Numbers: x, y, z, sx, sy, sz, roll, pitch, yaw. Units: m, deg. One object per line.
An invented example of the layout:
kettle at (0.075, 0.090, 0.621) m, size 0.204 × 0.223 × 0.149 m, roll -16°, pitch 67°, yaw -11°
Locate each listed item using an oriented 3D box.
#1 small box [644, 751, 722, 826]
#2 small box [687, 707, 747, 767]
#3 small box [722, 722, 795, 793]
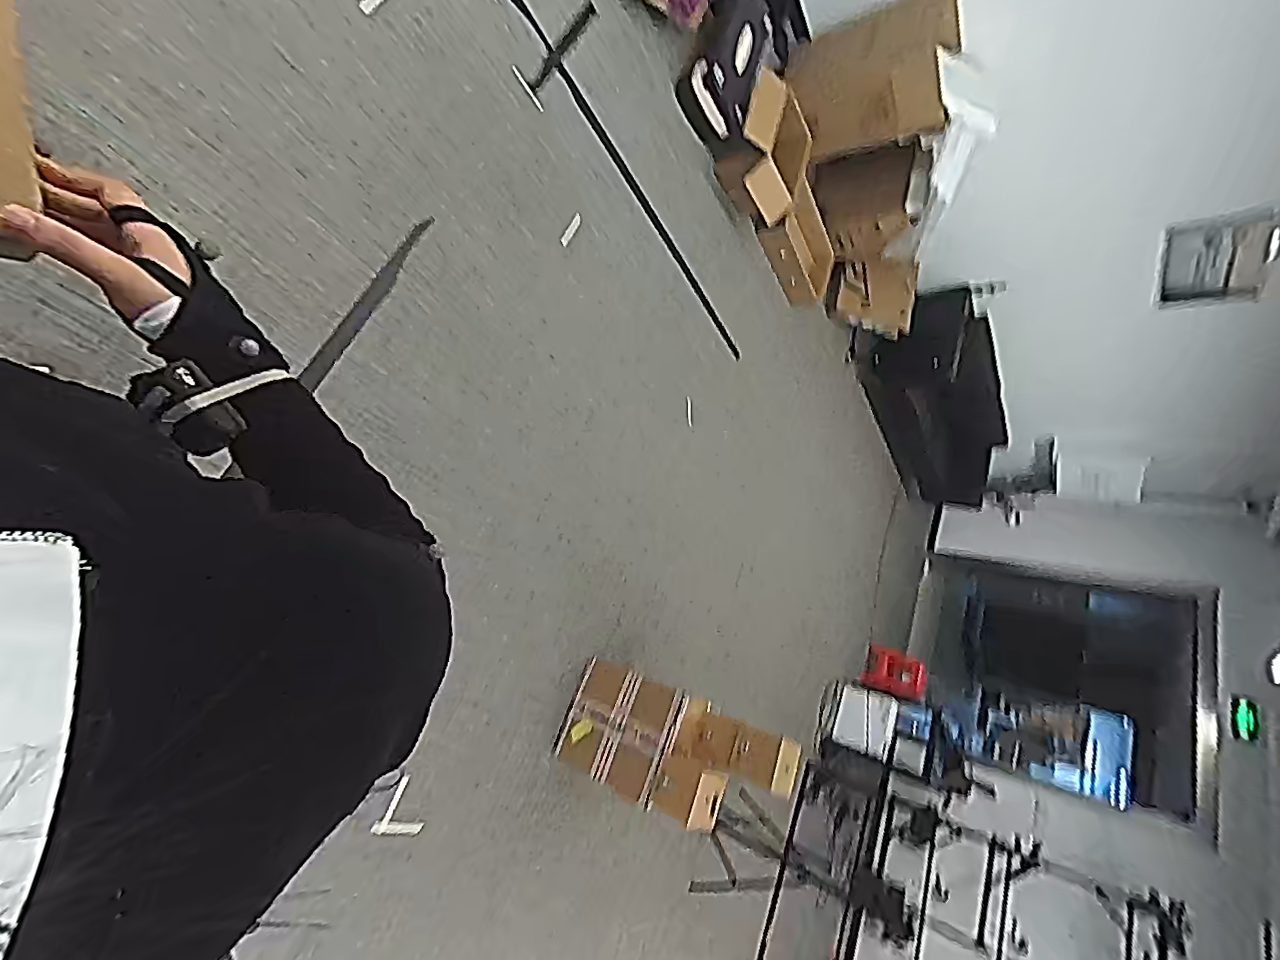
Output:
small box at (0.144, 1.036, 1.822) m, size 0.179 × 0.176 × 0.168 m, roll 39°, pitch 65°, yaw -42°
small box at (0.303, 0.962, 2.002) m, size 0.179 × 0.176 × 0.168 m, roll 41°, pitch 61°, yaw -42°
small box at (0.413, 0.962, 1.880) m, size 0.179 × 0.176 × 0.168 m, roll 40°, pitch 61°, yaw -41°
